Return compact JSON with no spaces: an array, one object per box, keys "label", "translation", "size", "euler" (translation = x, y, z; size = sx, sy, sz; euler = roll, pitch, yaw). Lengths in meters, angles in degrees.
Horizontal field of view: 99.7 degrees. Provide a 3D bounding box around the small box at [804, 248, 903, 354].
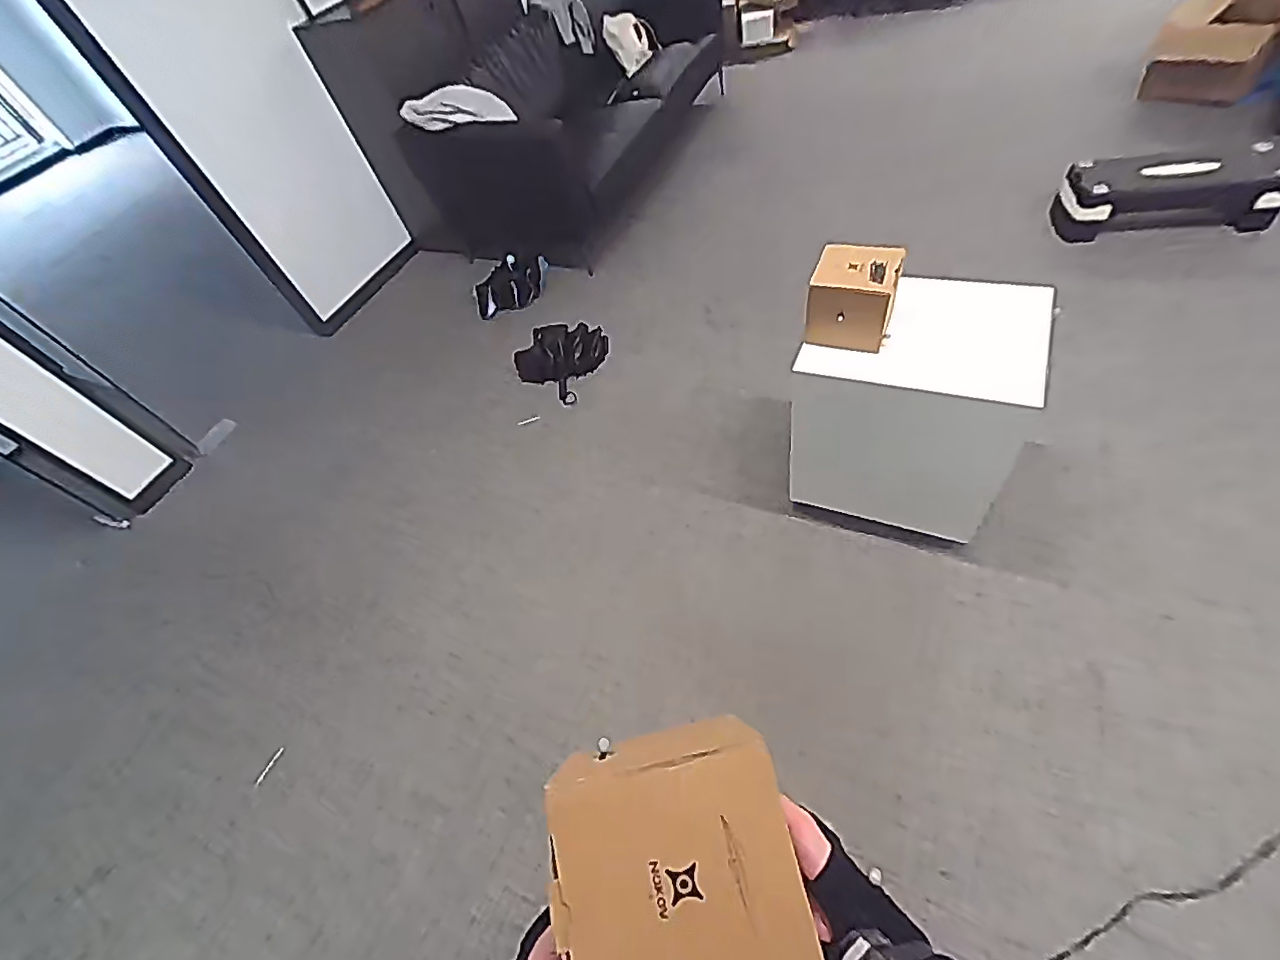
[{"label":"small box","translation":[0.497,-0.418,1.272],"size":[0.179,0.176,0.168],"euler":[15,58,24]}]
